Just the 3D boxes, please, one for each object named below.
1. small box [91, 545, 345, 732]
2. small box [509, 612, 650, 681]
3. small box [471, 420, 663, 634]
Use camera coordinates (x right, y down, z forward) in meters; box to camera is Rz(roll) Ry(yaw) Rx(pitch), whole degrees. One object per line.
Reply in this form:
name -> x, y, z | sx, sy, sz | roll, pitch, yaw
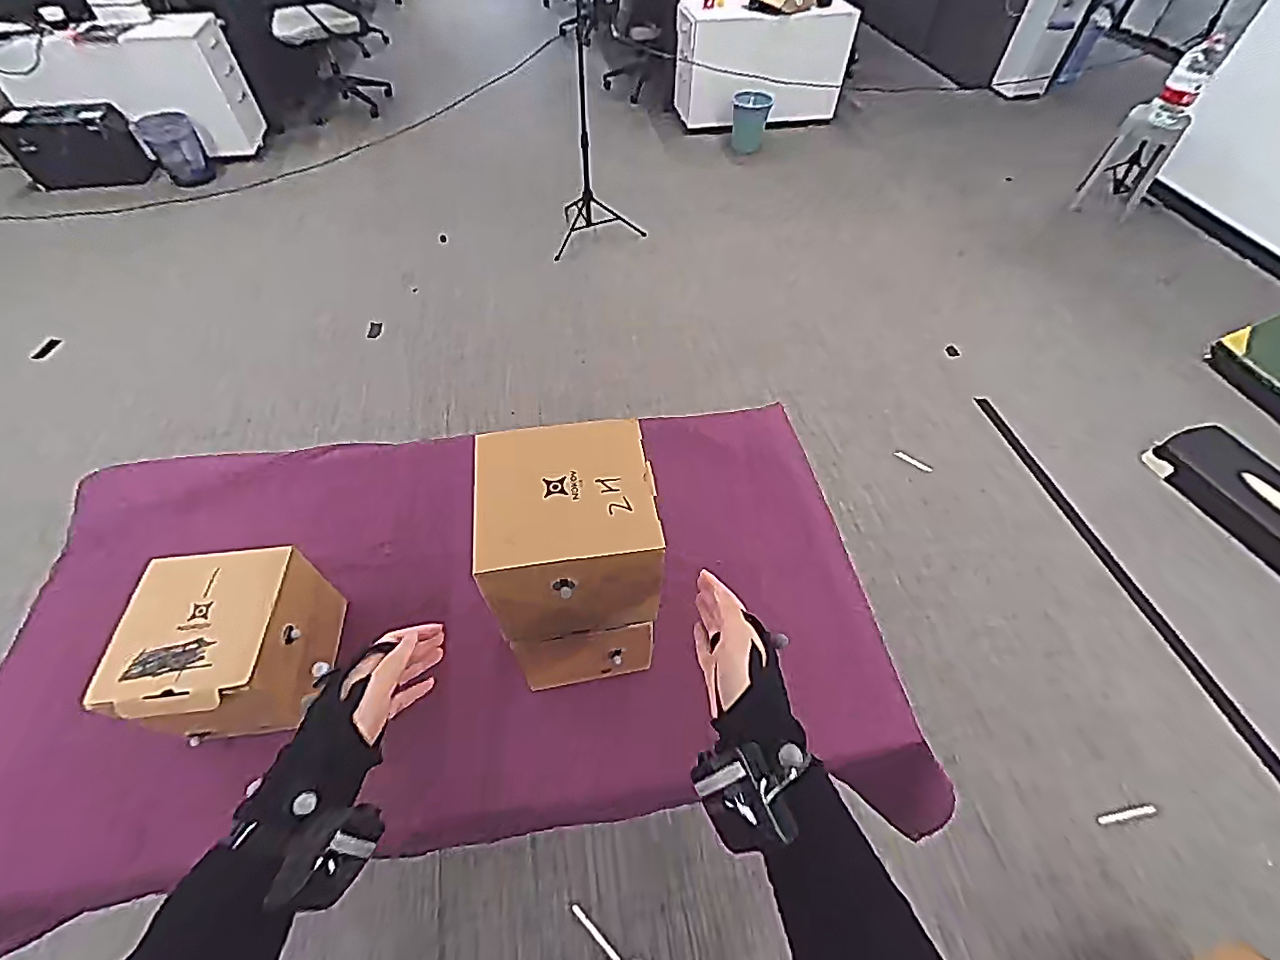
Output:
small box -> -0.499, 0.204, 0.678 | 0.168, 0.176, 0.179 | -5, 53, -5
small box -> -0.081, 0.156, 0.725 | 0.168, 0.176, 0.179 | -7, 53, -7
small box -> -0.076, 0.056, 0.595 | 0.179, 0.176, 0.168 | -6, 54, -7
